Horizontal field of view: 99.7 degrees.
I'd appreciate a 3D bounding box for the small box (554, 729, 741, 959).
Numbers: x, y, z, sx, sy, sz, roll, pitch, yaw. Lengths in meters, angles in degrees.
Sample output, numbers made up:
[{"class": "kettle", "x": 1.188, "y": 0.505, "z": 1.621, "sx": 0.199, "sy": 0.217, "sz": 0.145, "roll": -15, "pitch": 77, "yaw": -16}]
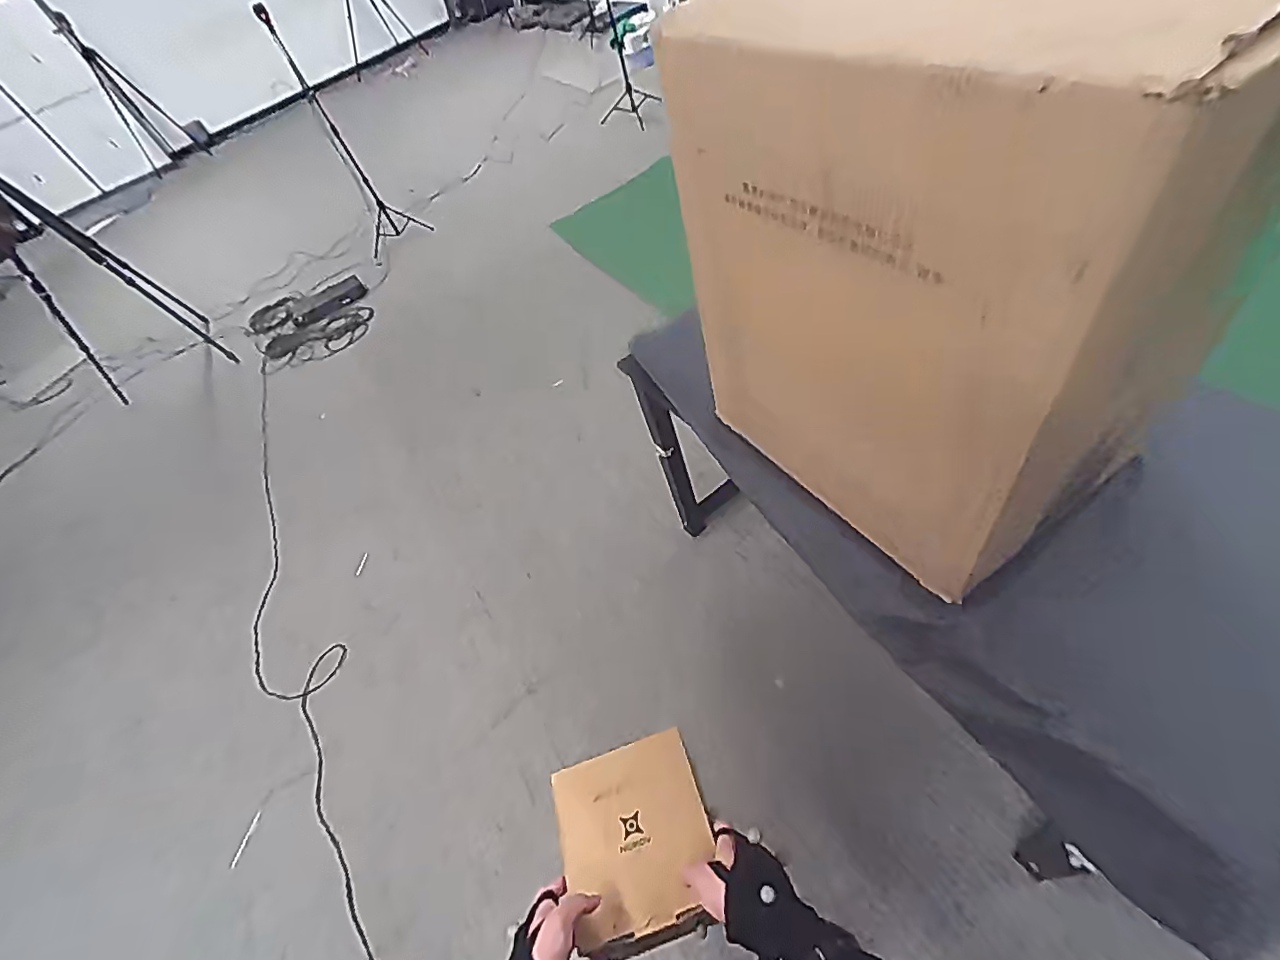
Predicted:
[{"class": "small box", "x": 0.012, "y": 0.442, "z": 0.654, "sx": 0.168, "sy": 0.176, "sz": 0.179, "roll": -20, "pitch": 44, "yaw": -5}]
